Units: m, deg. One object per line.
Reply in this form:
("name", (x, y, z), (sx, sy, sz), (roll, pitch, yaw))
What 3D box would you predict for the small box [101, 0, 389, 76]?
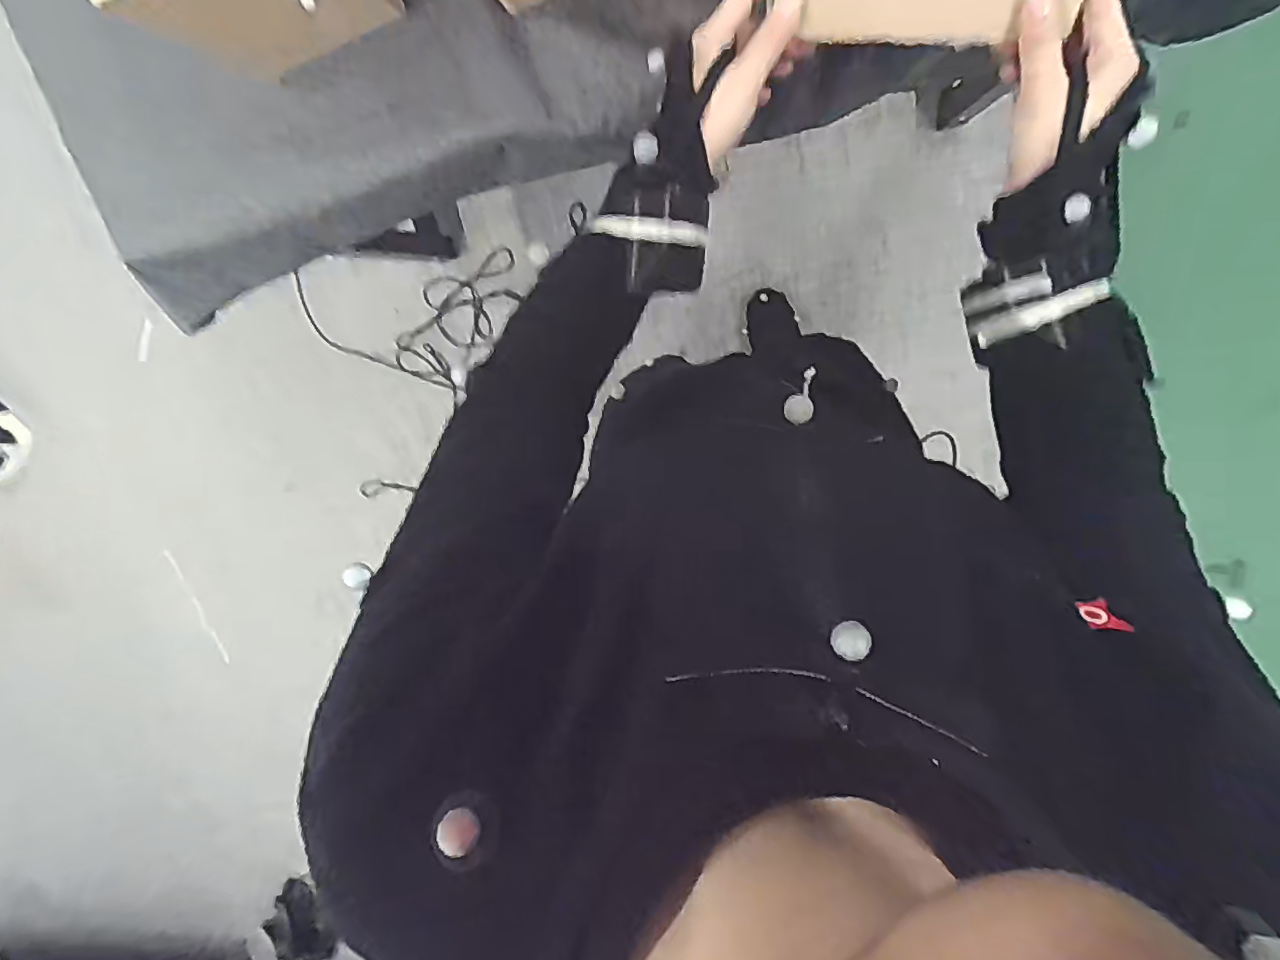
("small box", (-0.339, -0.483, 0.448), (0.179, 0.176, 0.168), (-12, 105, 15))
